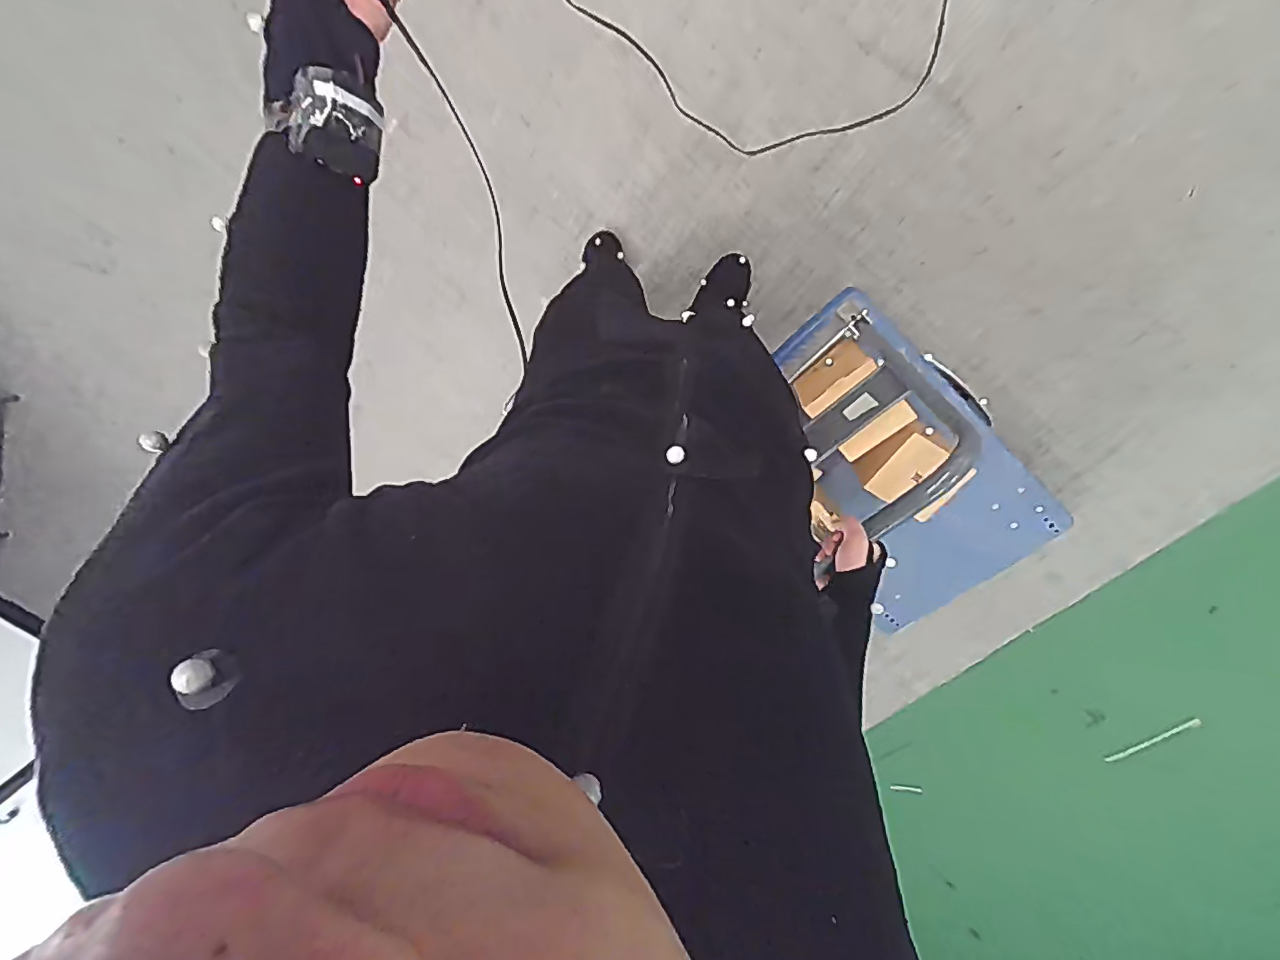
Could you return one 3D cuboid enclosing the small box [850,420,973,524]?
[{"bbox_3d":[0.620,-0.034,1.265,0.179,0.176,0.168,30,119,-8],"label":"small box"}]

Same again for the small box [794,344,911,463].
[{"bbox_3d":[0.467,-0.177,1.212,0.168,0.176,0.179,-39,107,25],"label":"small box"}]
